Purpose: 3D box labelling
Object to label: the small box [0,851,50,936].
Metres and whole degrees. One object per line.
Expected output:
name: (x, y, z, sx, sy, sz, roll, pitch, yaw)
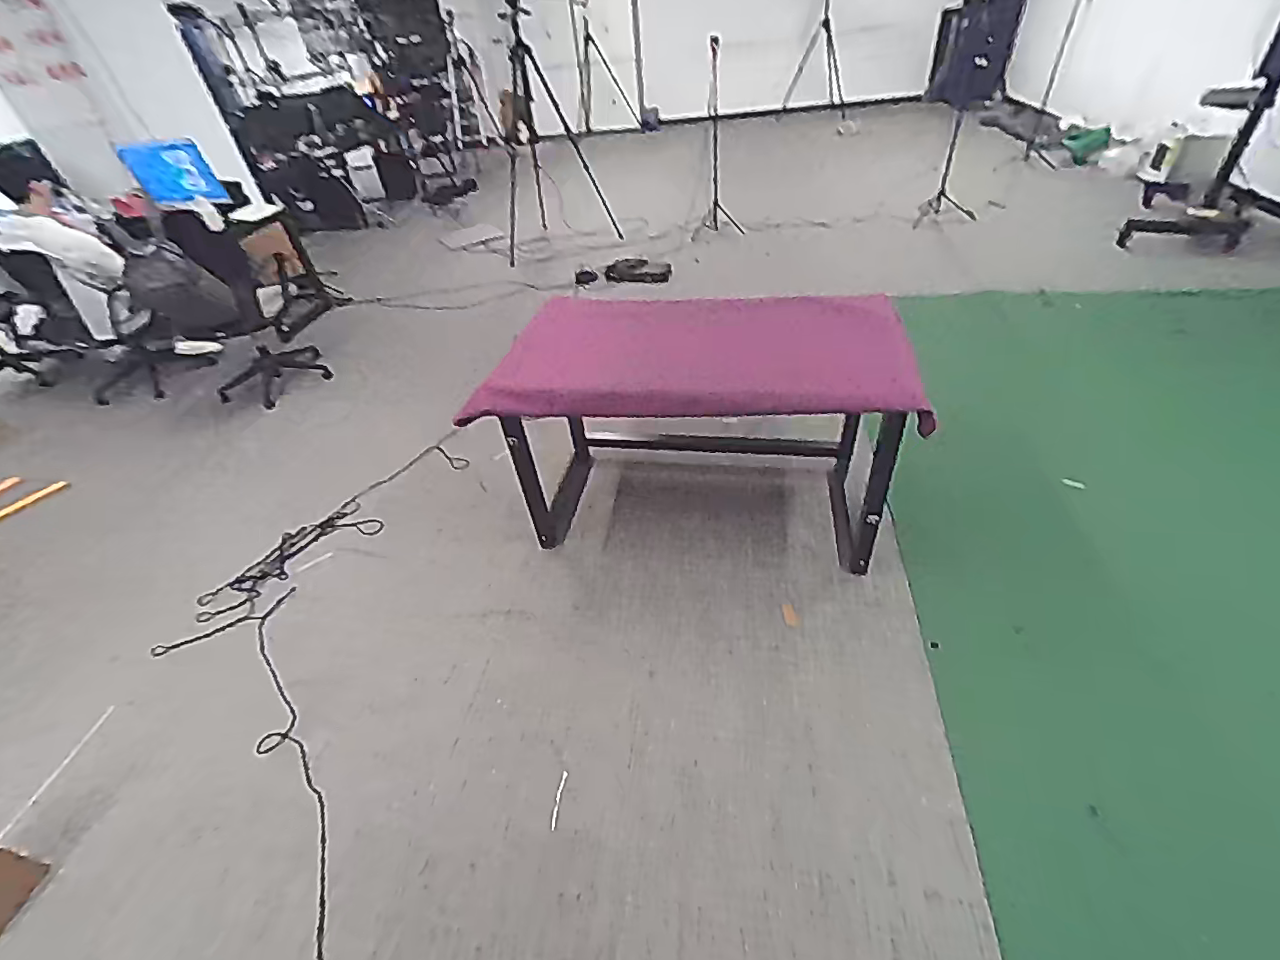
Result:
small box: (-1.620, 1.008, 1.304, 0.168, 0.176, 0.179, 1, 41, 10)
